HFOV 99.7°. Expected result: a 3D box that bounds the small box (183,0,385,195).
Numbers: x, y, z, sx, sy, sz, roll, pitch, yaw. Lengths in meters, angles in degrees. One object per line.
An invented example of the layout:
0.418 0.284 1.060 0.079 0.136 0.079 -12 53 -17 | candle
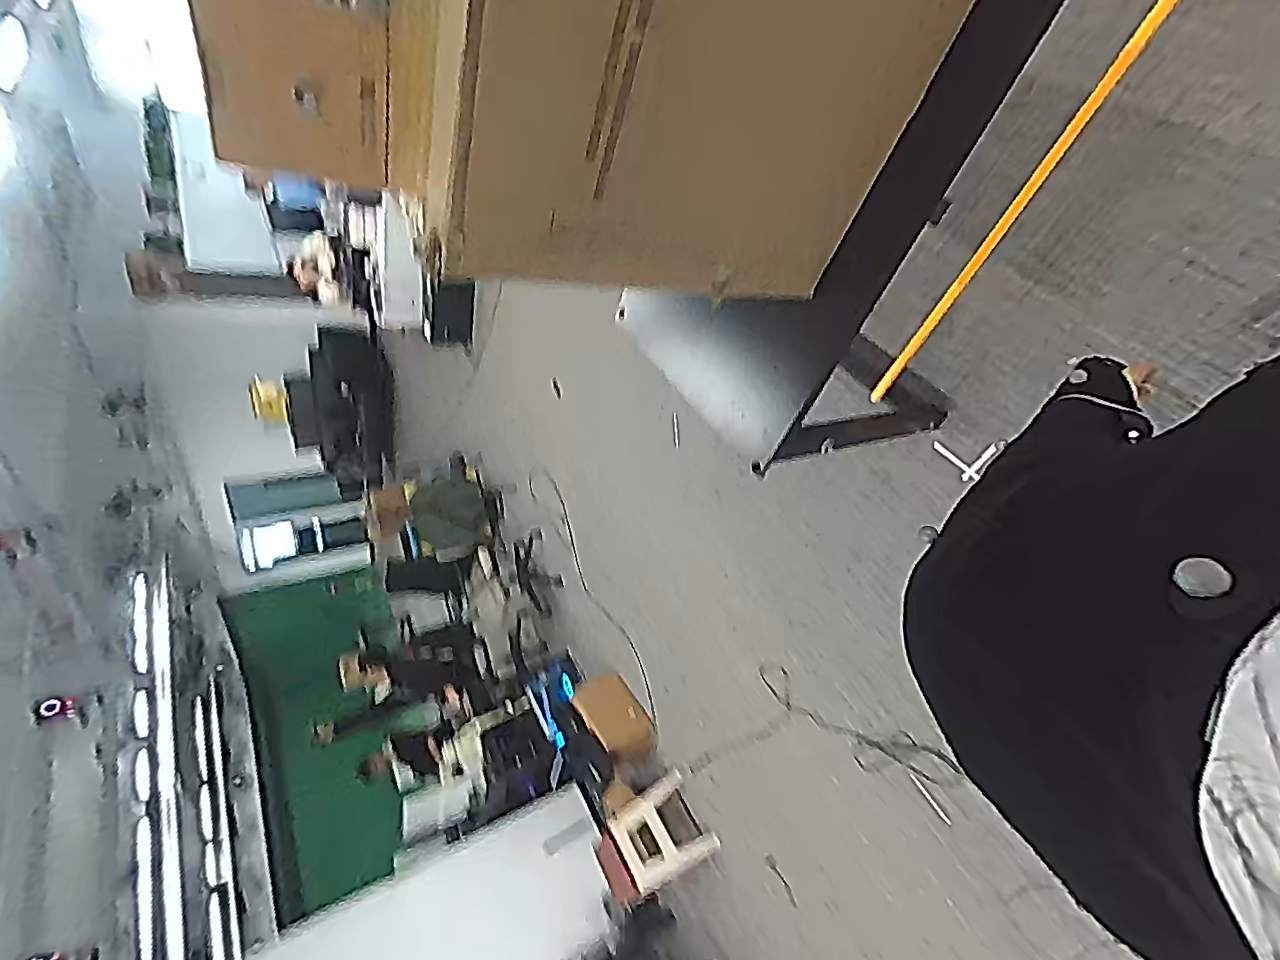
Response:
-0.397 -0.443 0.616 0.179 0.176 0.168 51 136 36 | small box
